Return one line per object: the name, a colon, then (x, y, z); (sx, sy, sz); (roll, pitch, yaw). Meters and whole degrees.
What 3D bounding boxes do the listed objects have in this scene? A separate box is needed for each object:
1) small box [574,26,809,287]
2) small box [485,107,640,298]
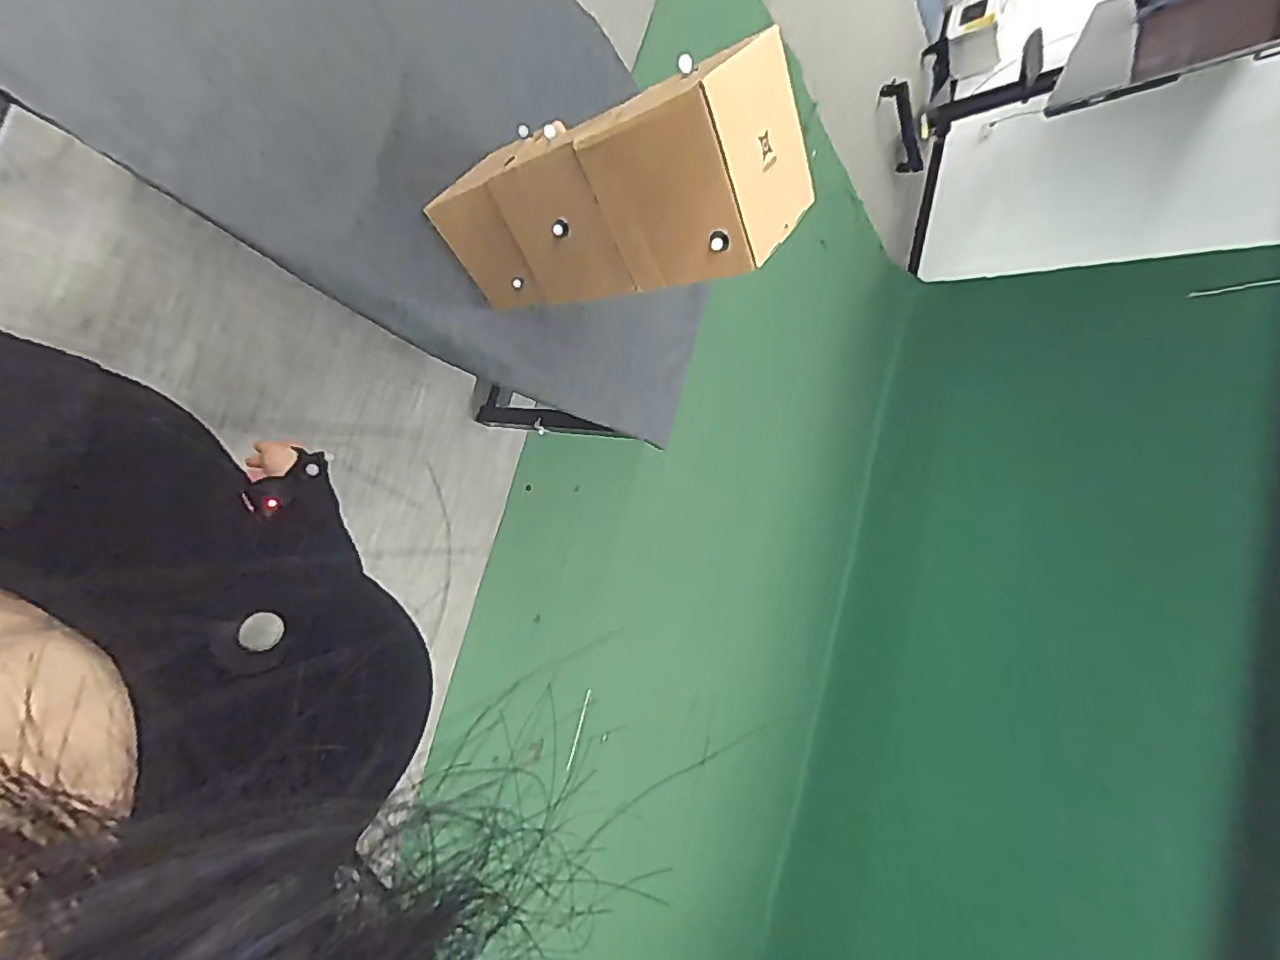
small box: (0.059, -0.335, 0.589); (0.168, 0.176, 0.179); (-54, 132, -29)
small box: (-0.060, -0.352, 0.698); (0.168, 0.176, 0.179); (-51, 130, -31)
